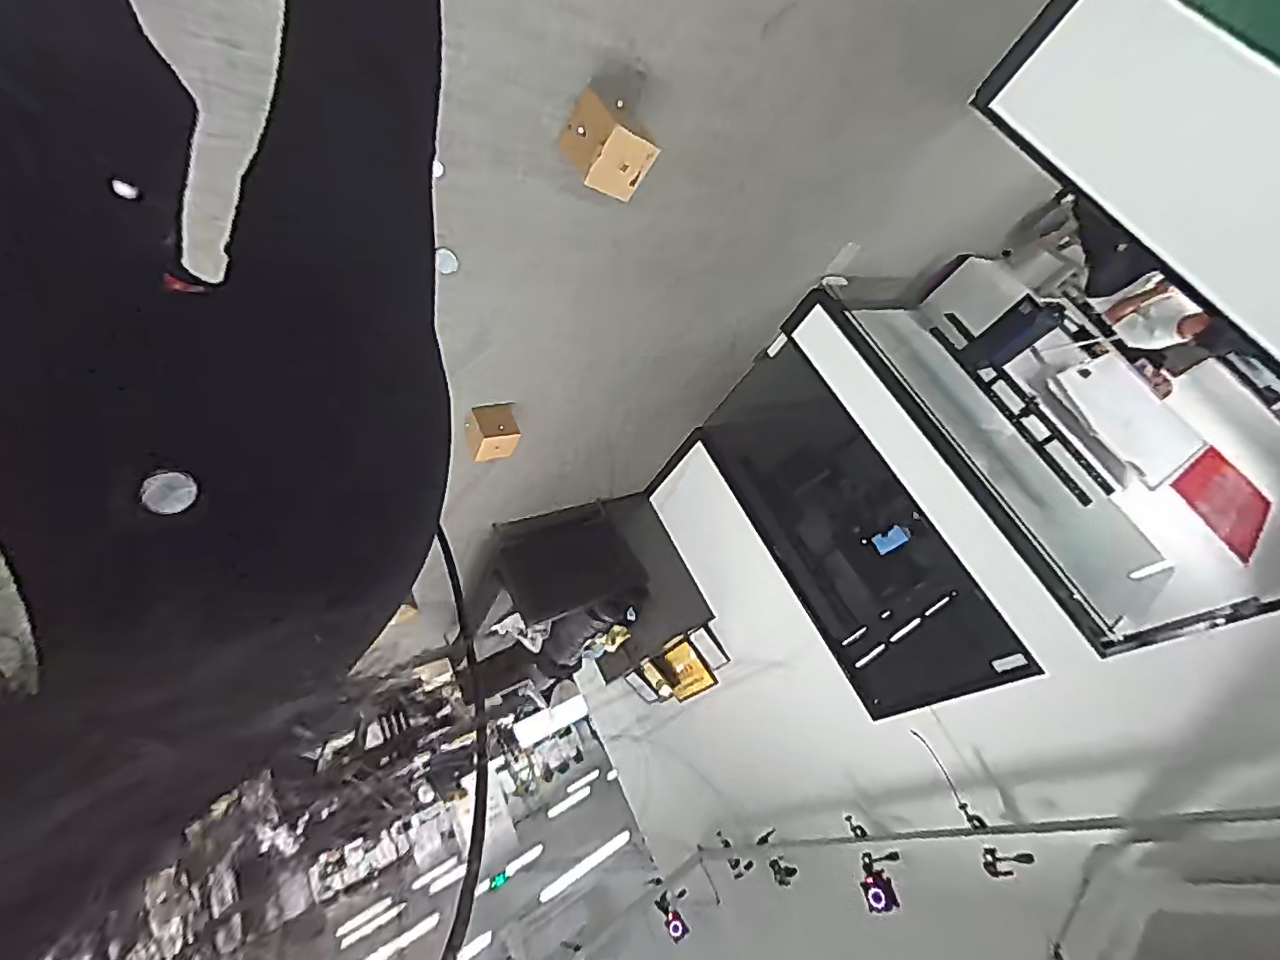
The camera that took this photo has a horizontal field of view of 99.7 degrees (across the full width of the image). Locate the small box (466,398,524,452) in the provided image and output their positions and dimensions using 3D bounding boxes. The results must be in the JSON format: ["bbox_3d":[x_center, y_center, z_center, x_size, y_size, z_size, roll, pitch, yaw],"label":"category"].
[{"bbox_3d":[-0.644,-0.249,2.384,0.179,0.176,0.168,-13,155,-37],"label":"small box"}]

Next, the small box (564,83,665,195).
[{"bbox_3d":[-0.074,-0.912,1.444,0.179,0.176,0.168,-6,151,-48],"label":"small box"}]
